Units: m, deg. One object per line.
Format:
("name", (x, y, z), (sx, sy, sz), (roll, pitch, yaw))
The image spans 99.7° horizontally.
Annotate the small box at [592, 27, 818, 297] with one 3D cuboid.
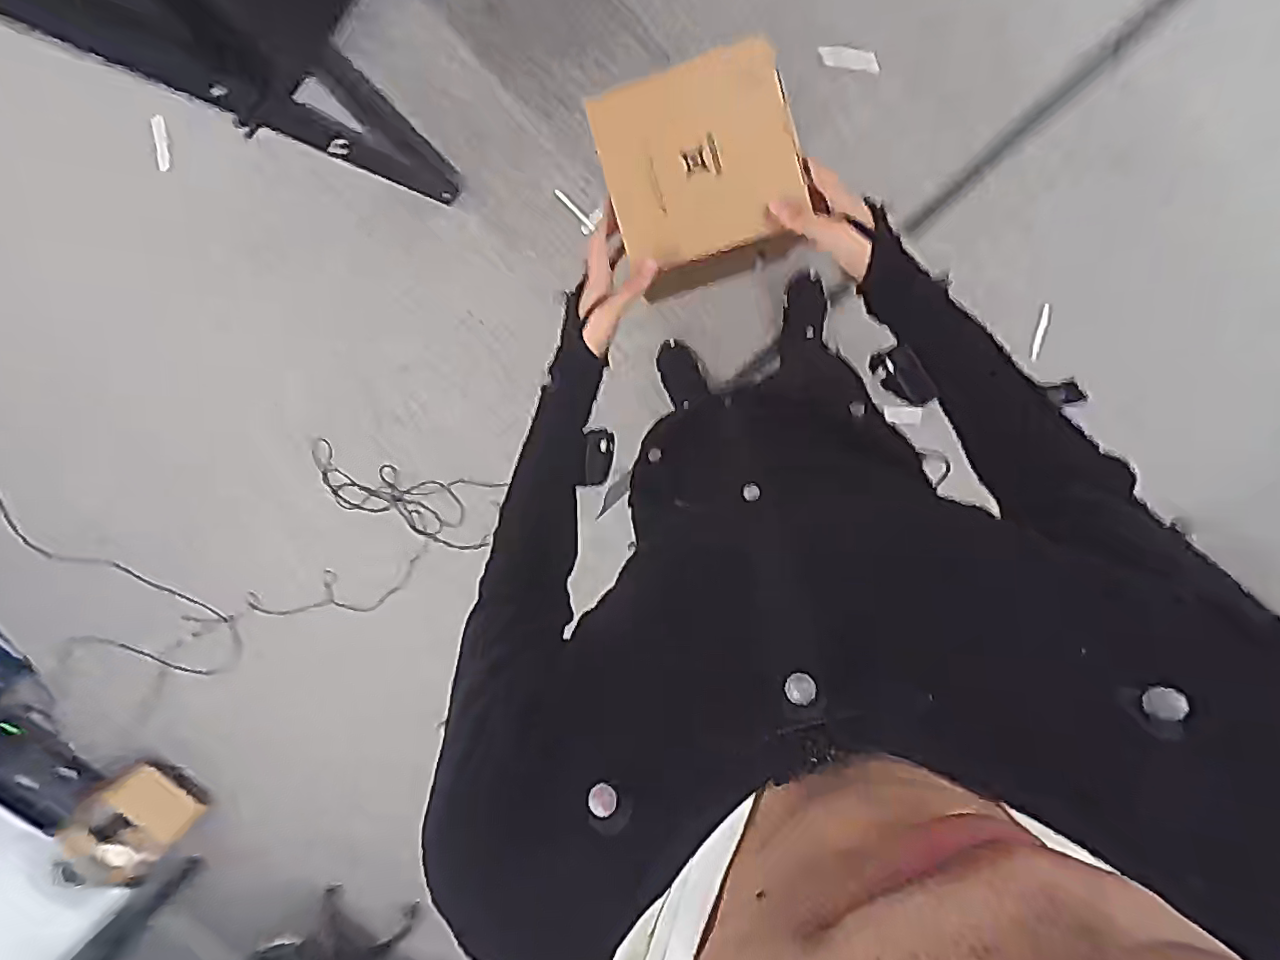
("small box", (0.064, -0.306, 0.563), (0.179, 0.176, 0.168), (-14, 97, 8))
